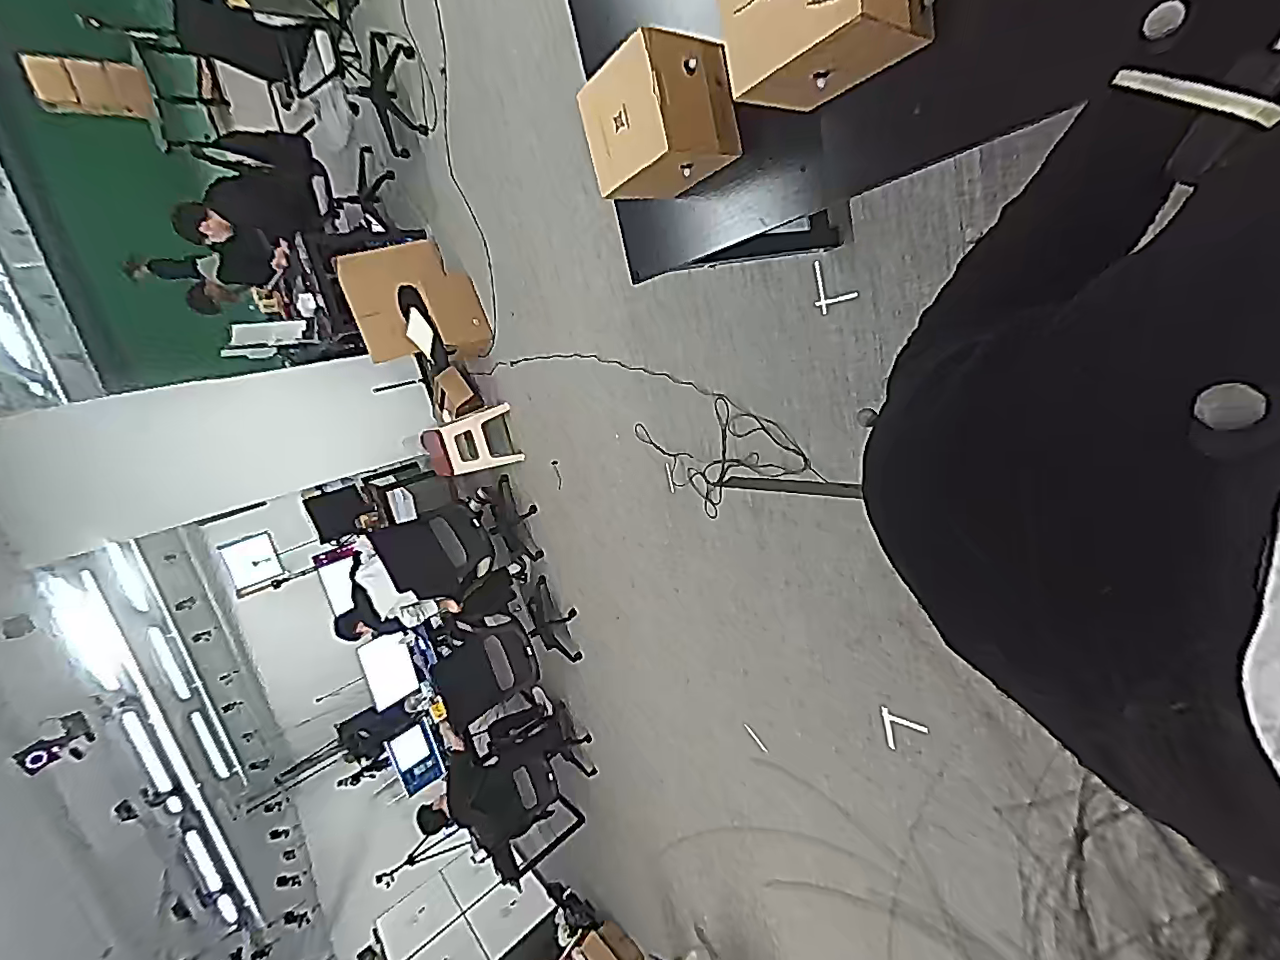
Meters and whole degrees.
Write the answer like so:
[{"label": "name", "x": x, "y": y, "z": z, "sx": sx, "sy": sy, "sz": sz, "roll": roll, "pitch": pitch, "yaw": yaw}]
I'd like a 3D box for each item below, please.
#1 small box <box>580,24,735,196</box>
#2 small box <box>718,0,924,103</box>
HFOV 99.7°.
[{"label": "small box", "x": 0.034, "y": -0.579, "z": 0.871, "sx": 0.179, "sy": 0.176, "sz": 0.168, "roll": 0, "pitch": 107, "yaw": 53}, {"label": "small box", "x": 0.213, "y": -0.577, "z": 0.636, "sx": 0.179, "sy": 0.176, "sz": 0.168, "roll": 5, "pitch": 112, "yaw": 52}]
